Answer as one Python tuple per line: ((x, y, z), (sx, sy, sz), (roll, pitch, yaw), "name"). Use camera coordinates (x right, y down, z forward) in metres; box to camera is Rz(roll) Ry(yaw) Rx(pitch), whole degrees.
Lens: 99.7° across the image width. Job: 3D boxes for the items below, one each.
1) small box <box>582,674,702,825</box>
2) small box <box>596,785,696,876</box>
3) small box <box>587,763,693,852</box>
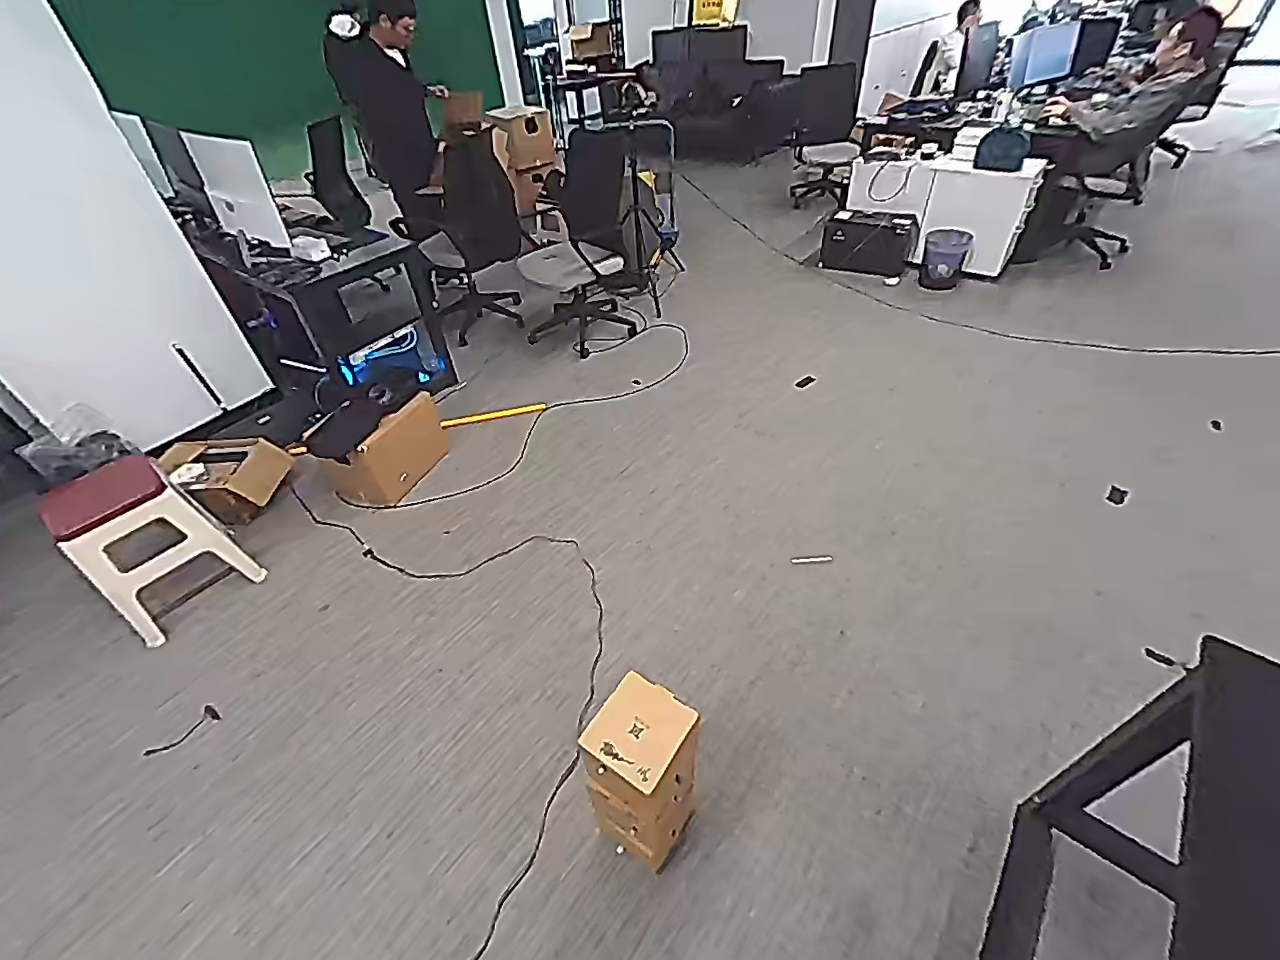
((0.007, 0.529, 1.067), (0.168, 0.176, 0.179), (23, 48, 27), "small box")
((0.018, 0.782, 1.274), (0.168, 0.176, 0.179), (23, 50, 28), "small box")
((0.010, 0.657, 1.170), (0.168, 0.176, 0.179), (21, 47, 25), "small box")
